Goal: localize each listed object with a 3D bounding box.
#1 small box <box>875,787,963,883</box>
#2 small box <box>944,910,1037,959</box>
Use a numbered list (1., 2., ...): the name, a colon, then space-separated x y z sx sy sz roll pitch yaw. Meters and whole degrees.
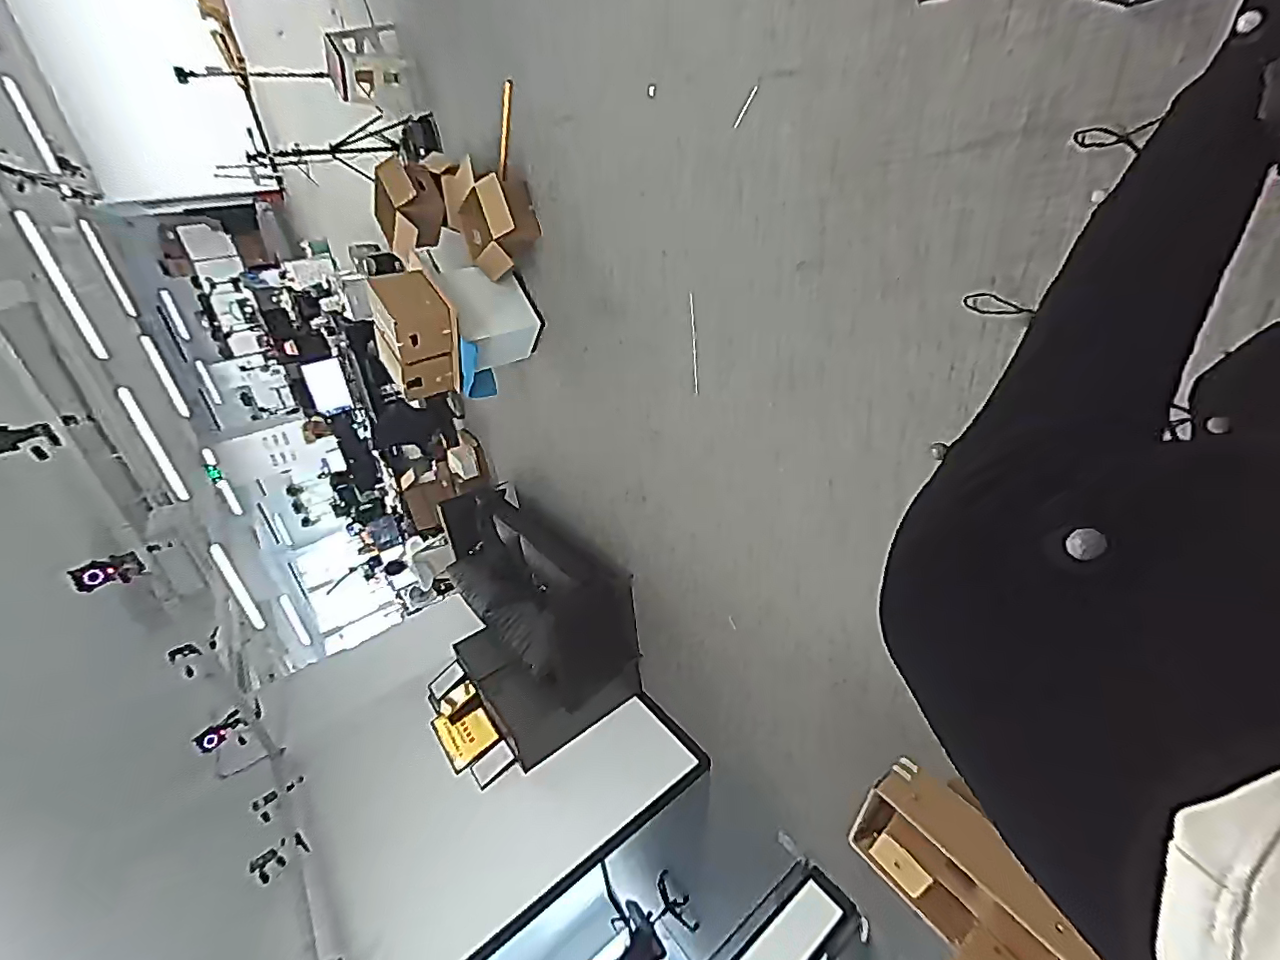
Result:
1. small box: 0.904 1.145 1.750 0.168 0.176 0.179 40 142 38
2. small box: 0.953 1.341 1.477 0.168 0.176 0.179 34 138 43
